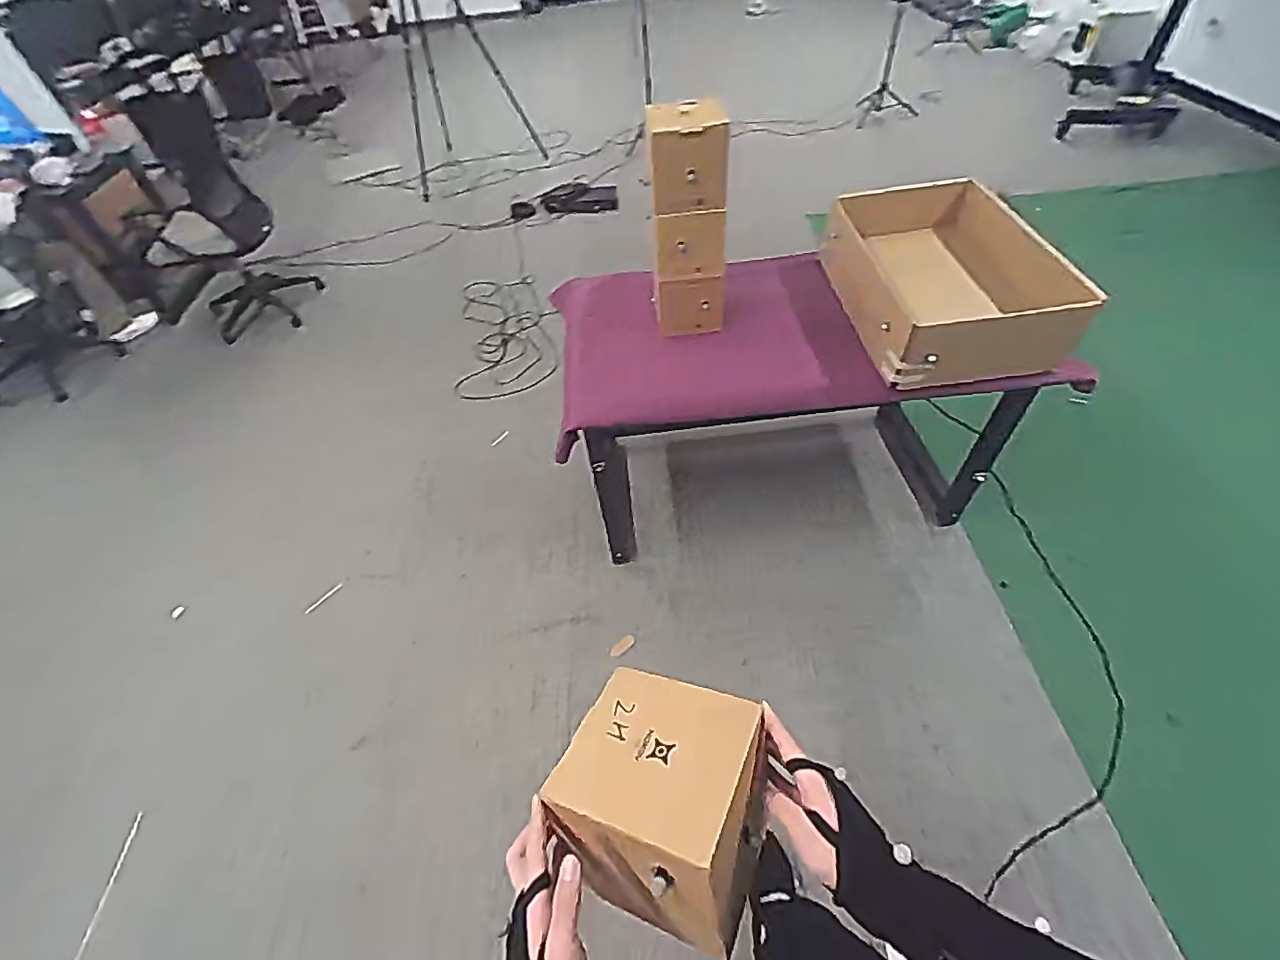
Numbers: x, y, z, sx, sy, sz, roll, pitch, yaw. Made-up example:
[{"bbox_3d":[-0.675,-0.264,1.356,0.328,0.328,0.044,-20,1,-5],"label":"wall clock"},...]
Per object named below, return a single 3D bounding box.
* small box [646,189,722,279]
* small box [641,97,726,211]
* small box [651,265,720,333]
[{"bbox_3d":[0.106,-0.610,1.325,0.168,0.176,0.179,-6,50,1],"label":"small box"},{"bbox_3d":[0.094,-0.717,1.202,0.168,0.176,0.179,-6,51,0],"label":"small box"},{"bbox_3d":[0.120,-0.511,1.453,0.168,0.176,0.179,-5,50,1],"label":"small box"}]
